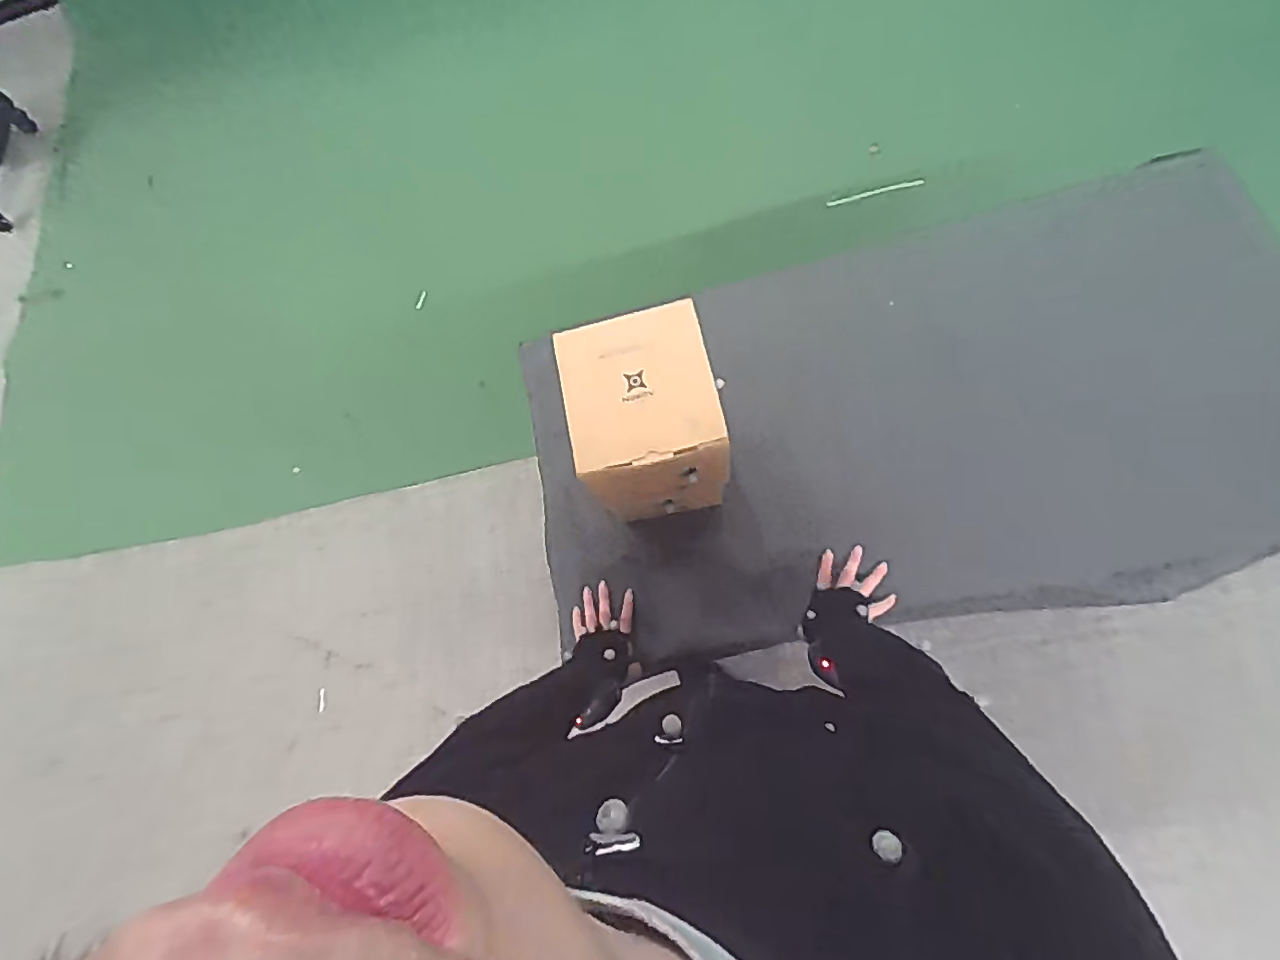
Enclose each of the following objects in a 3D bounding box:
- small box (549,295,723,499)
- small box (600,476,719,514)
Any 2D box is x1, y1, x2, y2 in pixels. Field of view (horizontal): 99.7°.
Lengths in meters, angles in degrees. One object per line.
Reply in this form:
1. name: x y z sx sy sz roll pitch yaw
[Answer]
1. small box: 0.003 -0.085 0.655 0.168 0.176 0.179 -13 71 4
2. small box: 0.023 -0.053 0.814 0.168 0.176 0.179 -11 73 5
